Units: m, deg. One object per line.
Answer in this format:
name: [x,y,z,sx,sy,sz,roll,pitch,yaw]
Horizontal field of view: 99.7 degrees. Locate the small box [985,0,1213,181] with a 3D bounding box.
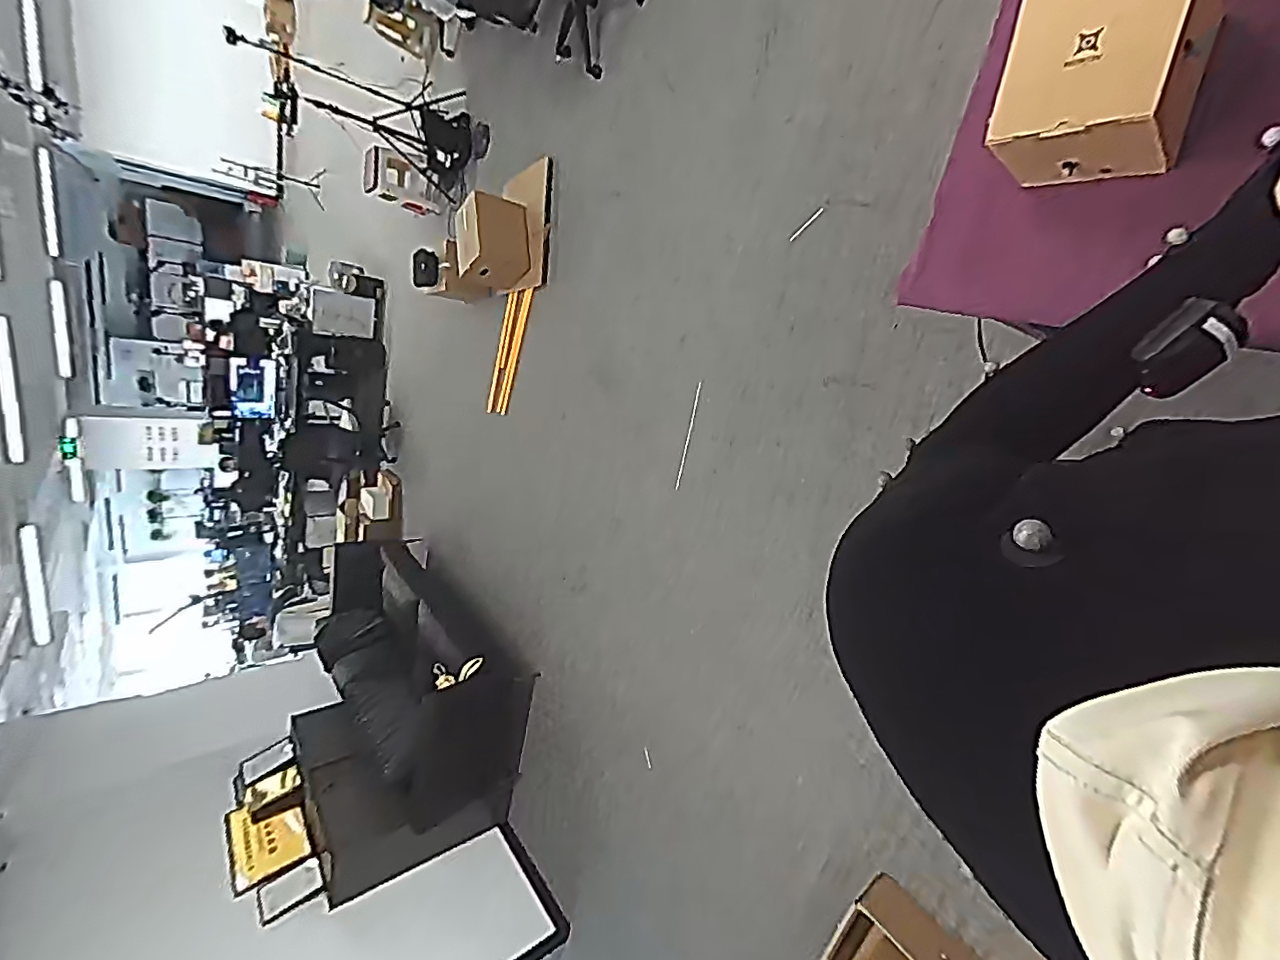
small box: [0.562,-0.496,0.664,0.168,0.176,0.179,22,109,46]
